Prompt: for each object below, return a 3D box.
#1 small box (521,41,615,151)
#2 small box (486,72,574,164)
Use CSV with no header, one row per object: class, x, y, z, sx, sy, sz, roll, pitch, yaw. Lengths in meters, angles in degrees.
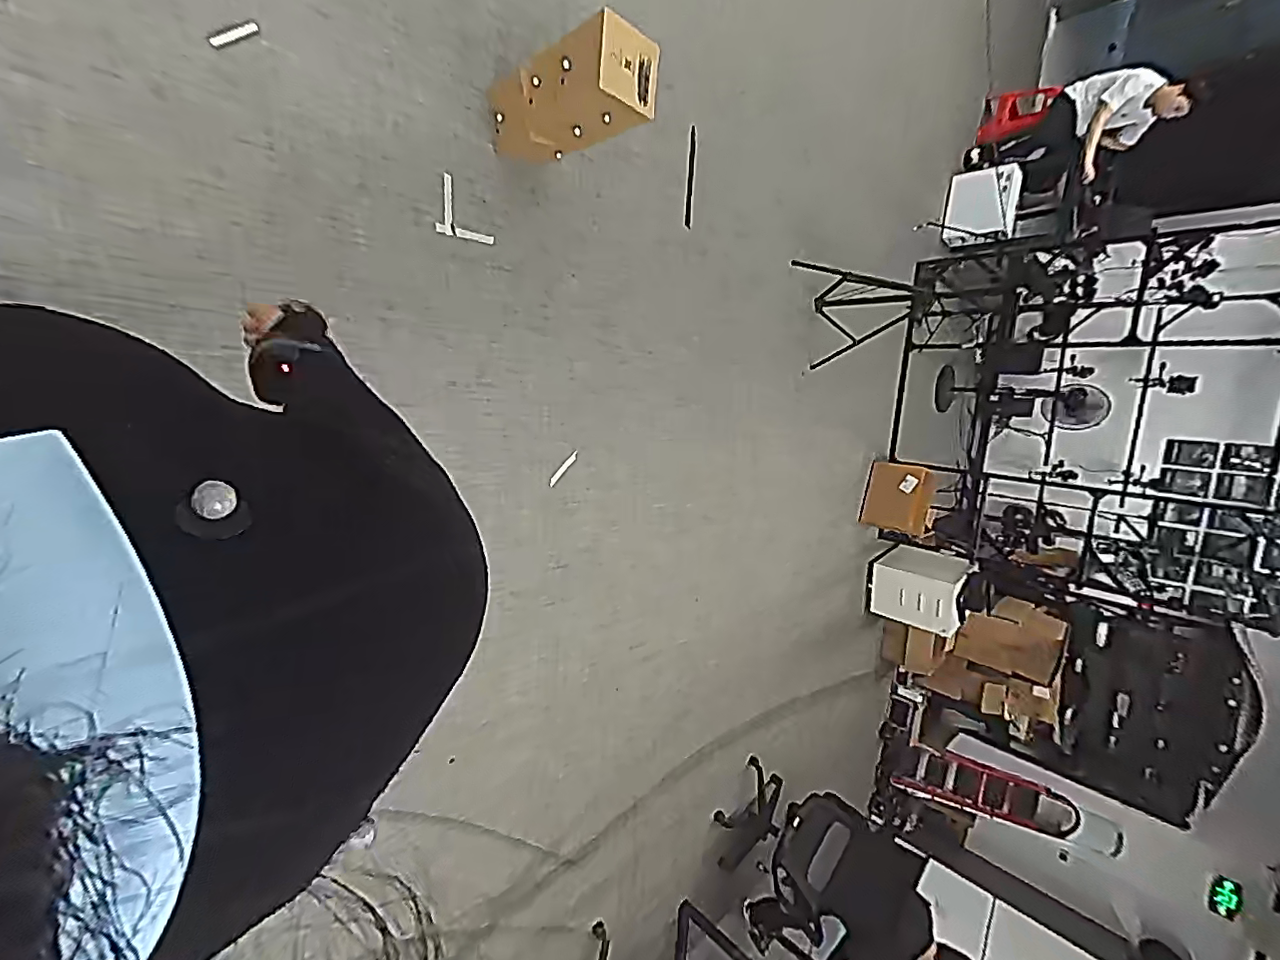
small box,-0.190,-1.000,1.430,0.179,0.176,0.168,-3,101,-45
small box,-0.311,-1.019,1.538,0.179,0.176,0.168,-20,112,-42
